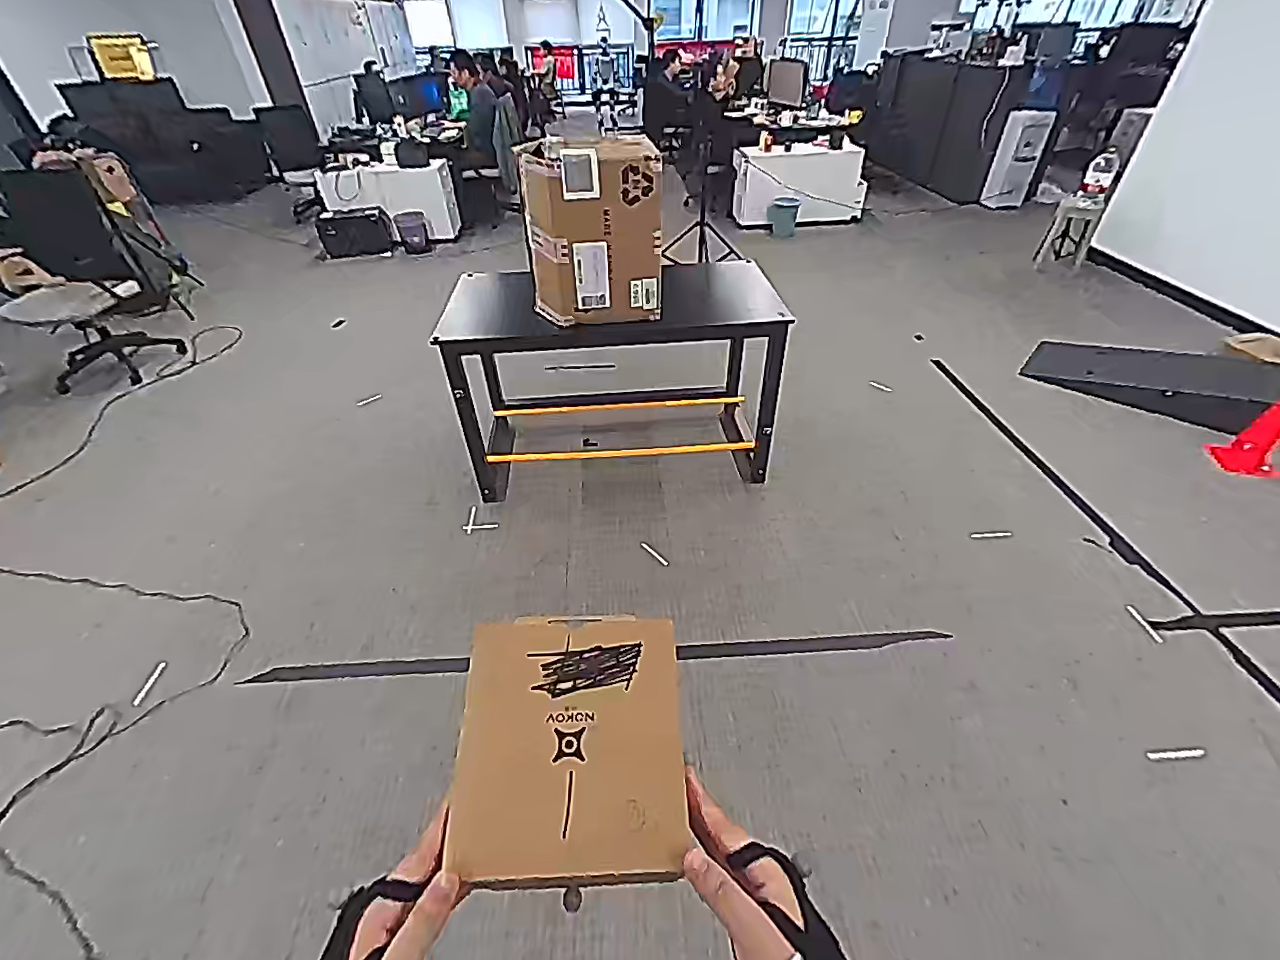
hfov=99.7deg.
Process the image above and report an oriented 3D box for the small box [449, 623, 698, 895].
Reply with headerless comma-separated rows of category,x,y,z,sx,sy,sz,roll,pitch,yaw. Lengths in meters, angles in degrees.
small box,-0.047,0.241,0.465,0.168,0.176,0.179,-2,52,-2
